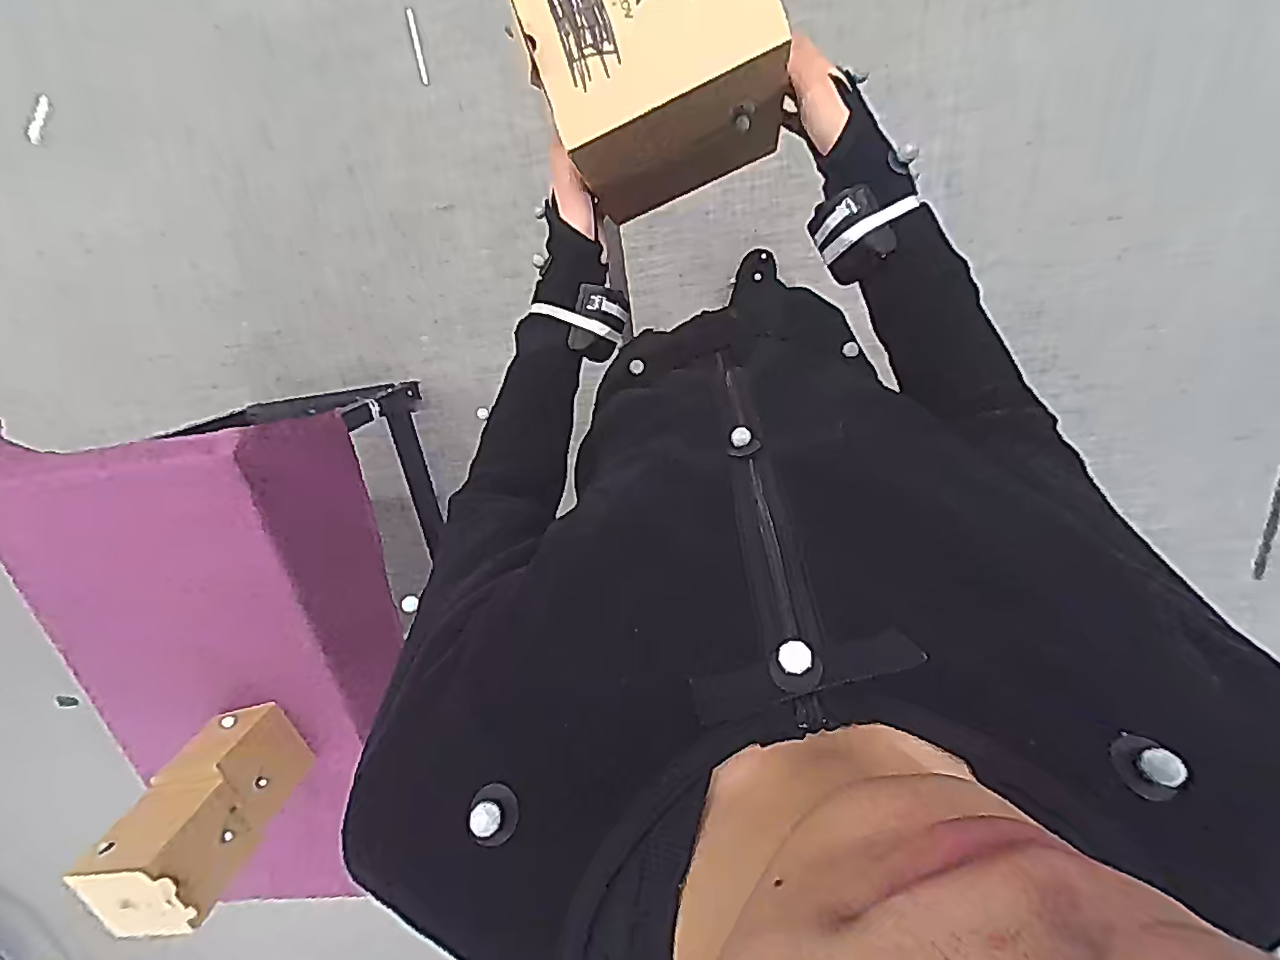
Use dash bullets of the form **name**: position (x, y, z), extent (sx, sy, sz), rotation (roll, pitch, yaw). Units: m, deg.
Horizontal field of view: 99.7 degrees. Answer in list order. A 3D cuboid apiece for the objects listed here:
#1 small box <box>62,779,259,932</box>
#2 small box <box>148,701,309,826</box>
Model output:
- **small box**: position (-0.862, 0.683, 0.992), extent (0.179, 0.176, 0.168), rotation (-11, 111, 9)
- **small box**: position (-0.847, 0.600, 1.135), extent (0.168, 0.176, 0.179), rotation (-16, 109, 10)
